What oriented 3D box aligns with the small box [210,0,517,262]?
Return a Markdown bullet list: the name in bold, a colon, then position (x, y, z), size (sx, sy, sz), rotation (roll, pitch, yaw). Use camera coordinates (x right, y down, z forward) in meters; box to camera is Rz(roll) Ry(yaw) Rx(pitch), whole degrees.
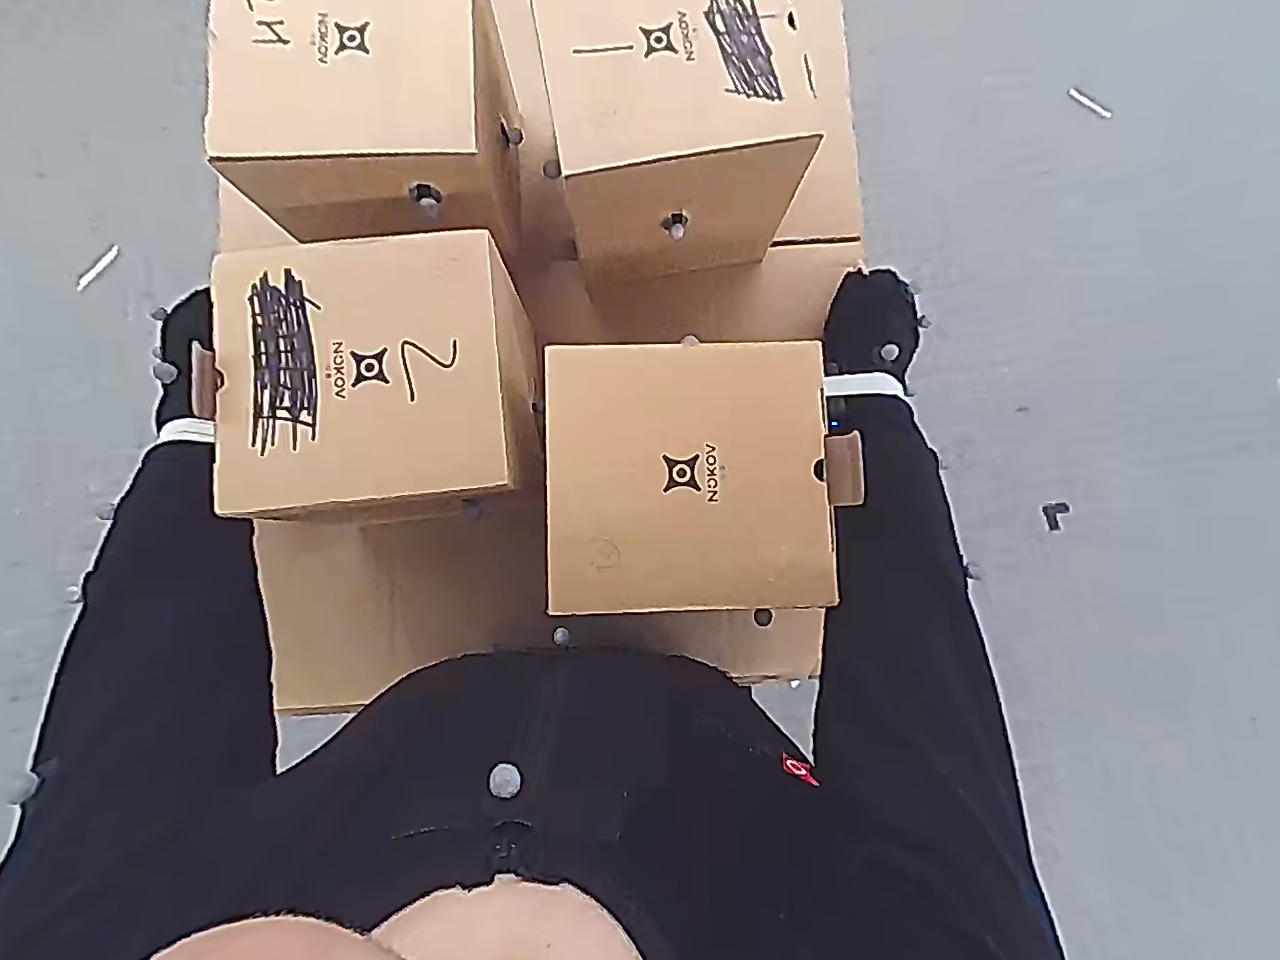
- **small box**: position (-0.201, -0.296, 0.443), size (0.179, 0.176, 0.168), rotation (-2, 85, 0)
